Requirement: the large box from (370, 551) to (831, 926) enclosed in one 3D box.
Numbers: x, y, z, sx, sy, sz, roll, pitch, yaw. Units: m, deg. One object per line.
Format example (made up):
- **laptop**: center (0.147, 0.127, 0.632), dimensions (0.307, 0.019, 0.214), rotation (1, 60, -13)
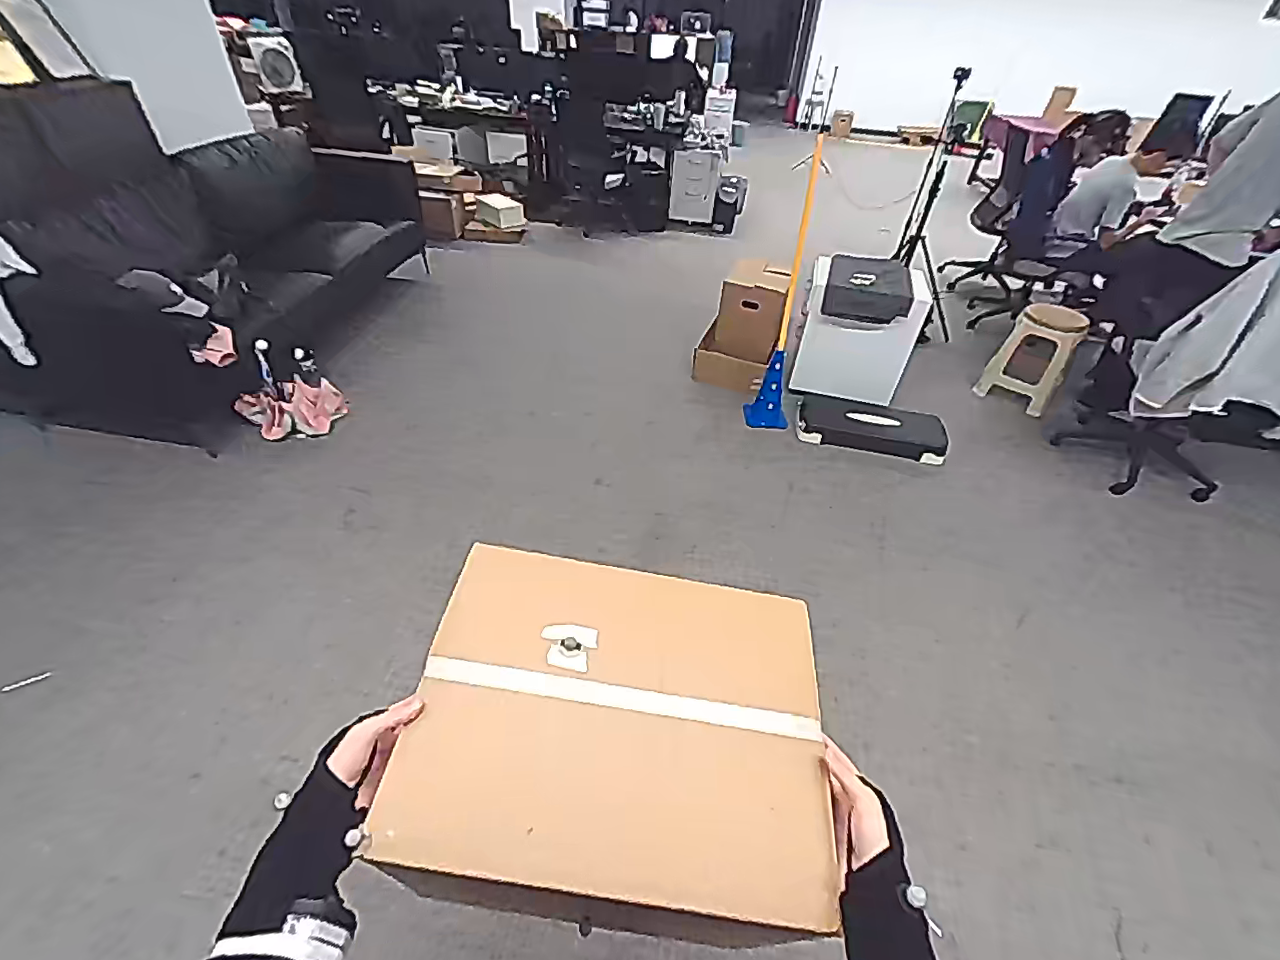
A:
- **large box**: center (-0.033, 0.324, 0.665), dimensions (0.408, 0.320, 0.320), rotation (10, 47, -1)
